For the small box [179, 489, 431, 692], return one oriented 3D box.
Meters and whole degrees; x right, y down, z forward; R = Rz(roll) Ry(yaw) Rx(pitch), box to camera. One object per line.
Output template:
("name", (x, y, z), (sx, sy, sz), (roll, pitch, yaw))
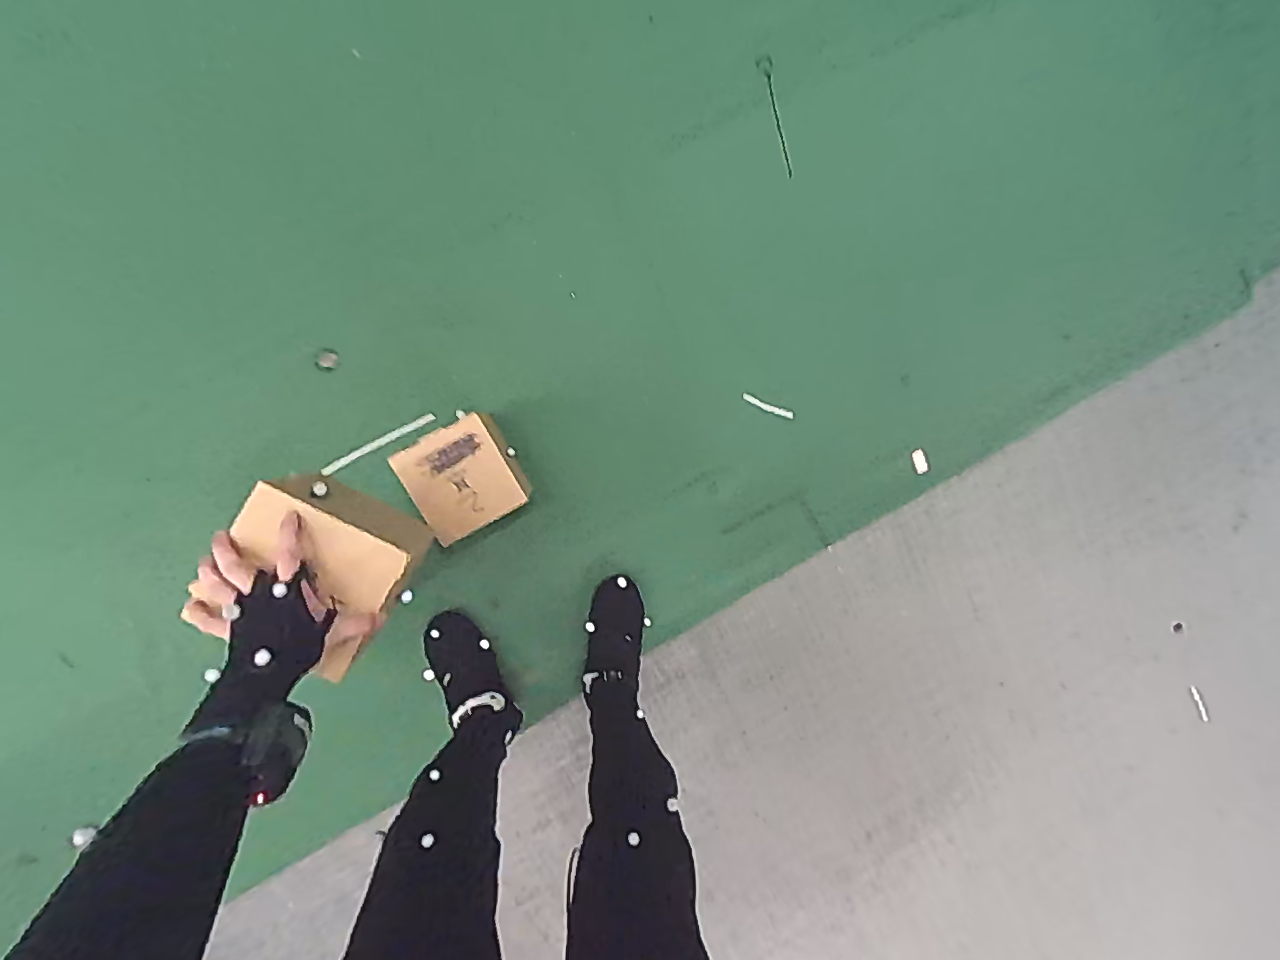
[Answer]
("small box", (-0.386, 0.120, 0.661), (0.179, 0.176, 0.168), (29, 88, -11))
